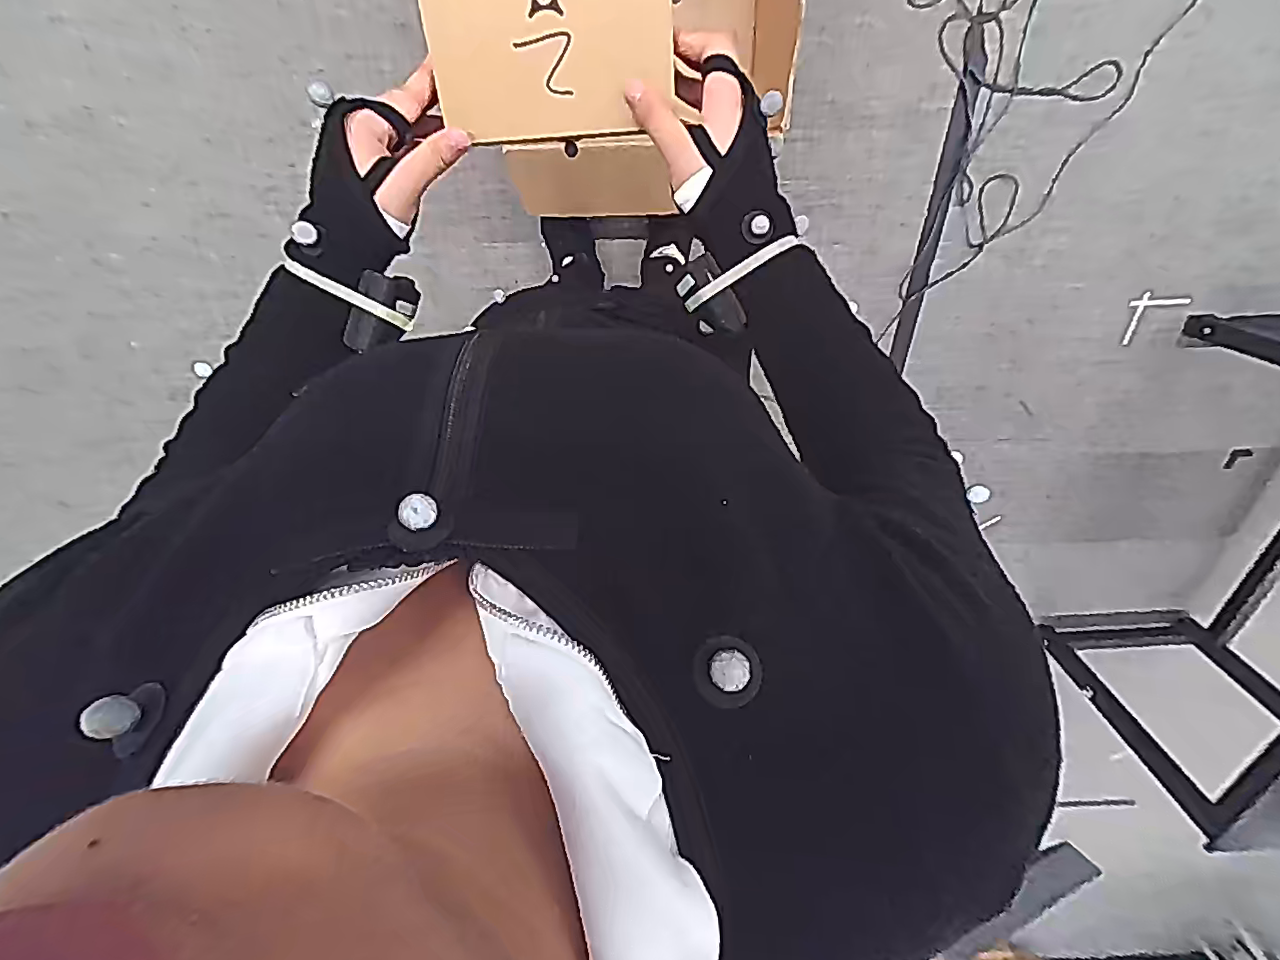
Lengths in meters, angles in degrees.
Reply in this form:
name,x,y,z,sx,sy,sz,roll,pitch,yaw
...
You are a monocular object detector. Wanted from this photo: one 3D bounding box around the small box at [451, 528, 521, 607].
name,x,y,z,sx,sy,sz,roll,pitch,yaw
small box,-0.457,0.263,1.637,0.168,0.176,0.179,-1,119,-3
